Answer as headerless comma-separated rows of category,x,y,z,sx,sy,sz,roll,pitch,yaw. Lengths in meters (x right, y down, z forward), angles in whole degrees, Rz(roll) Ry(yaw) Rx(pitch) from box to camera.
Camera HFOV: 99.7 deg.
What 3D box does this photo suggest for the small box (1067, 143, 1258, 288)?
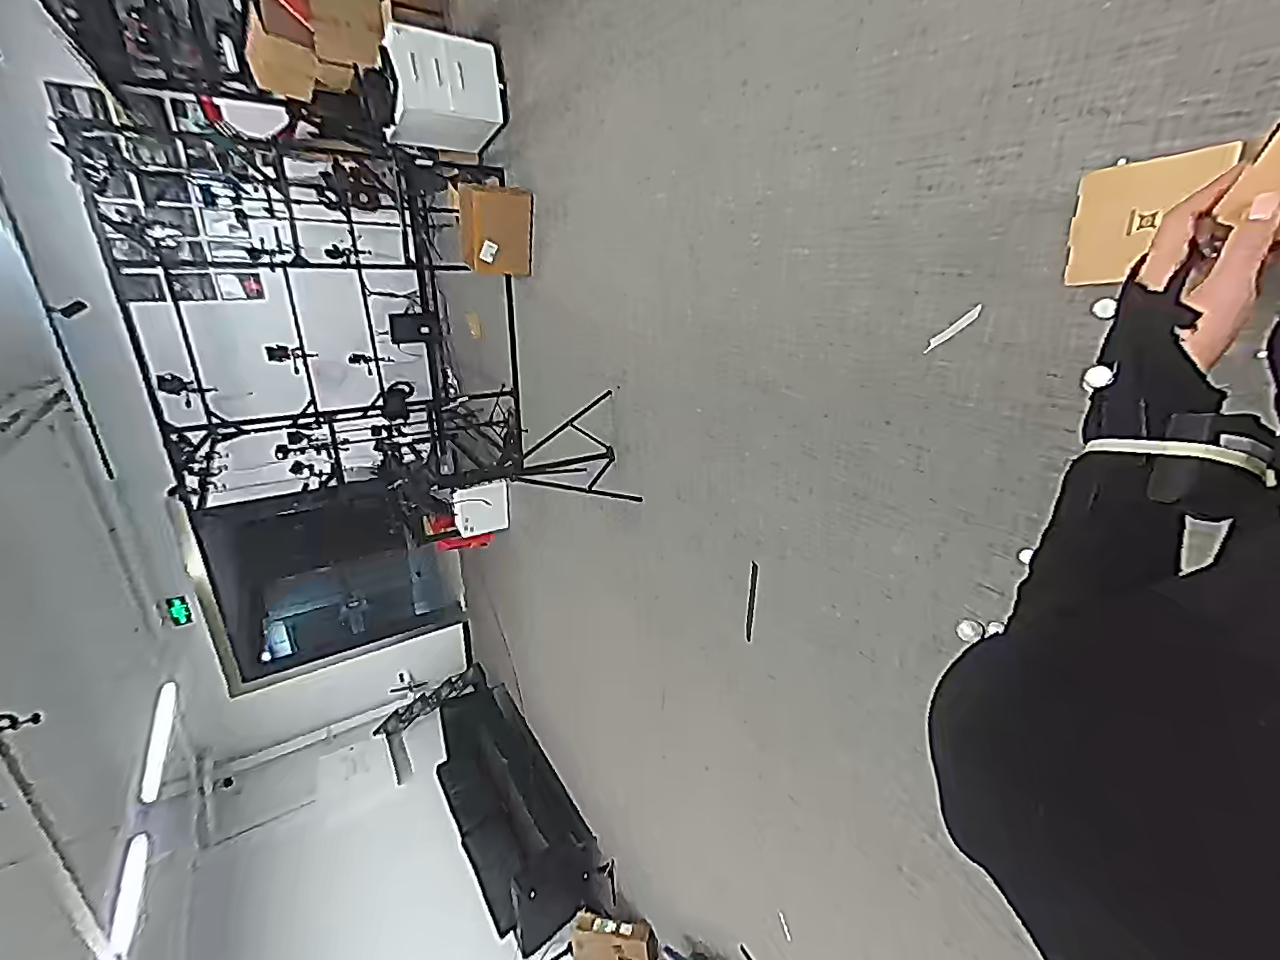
small box,0.790,-0.382,0.809,0.179,0.176,0.168,21,118,55
